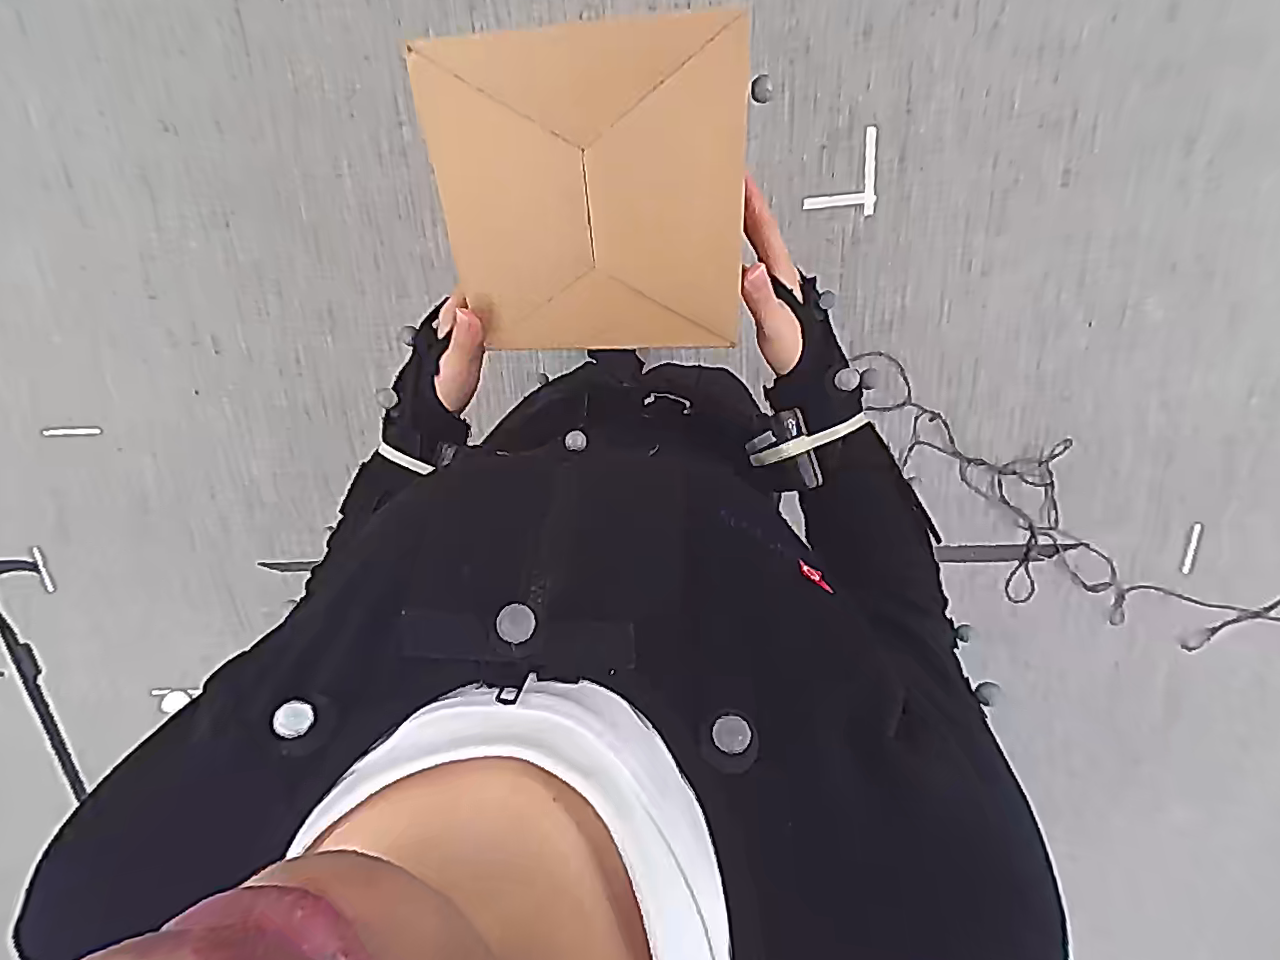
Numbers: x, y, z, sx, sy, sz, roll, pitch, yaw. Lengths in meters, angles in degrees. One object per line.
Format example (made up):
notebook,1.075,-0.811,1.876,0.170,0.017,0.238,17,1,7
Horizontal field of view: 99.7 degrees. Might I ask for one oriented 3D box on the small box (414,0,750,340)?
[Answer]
small box,-0.016,-0.204,0.369,0.179,0.176,0.168,1,126,8
